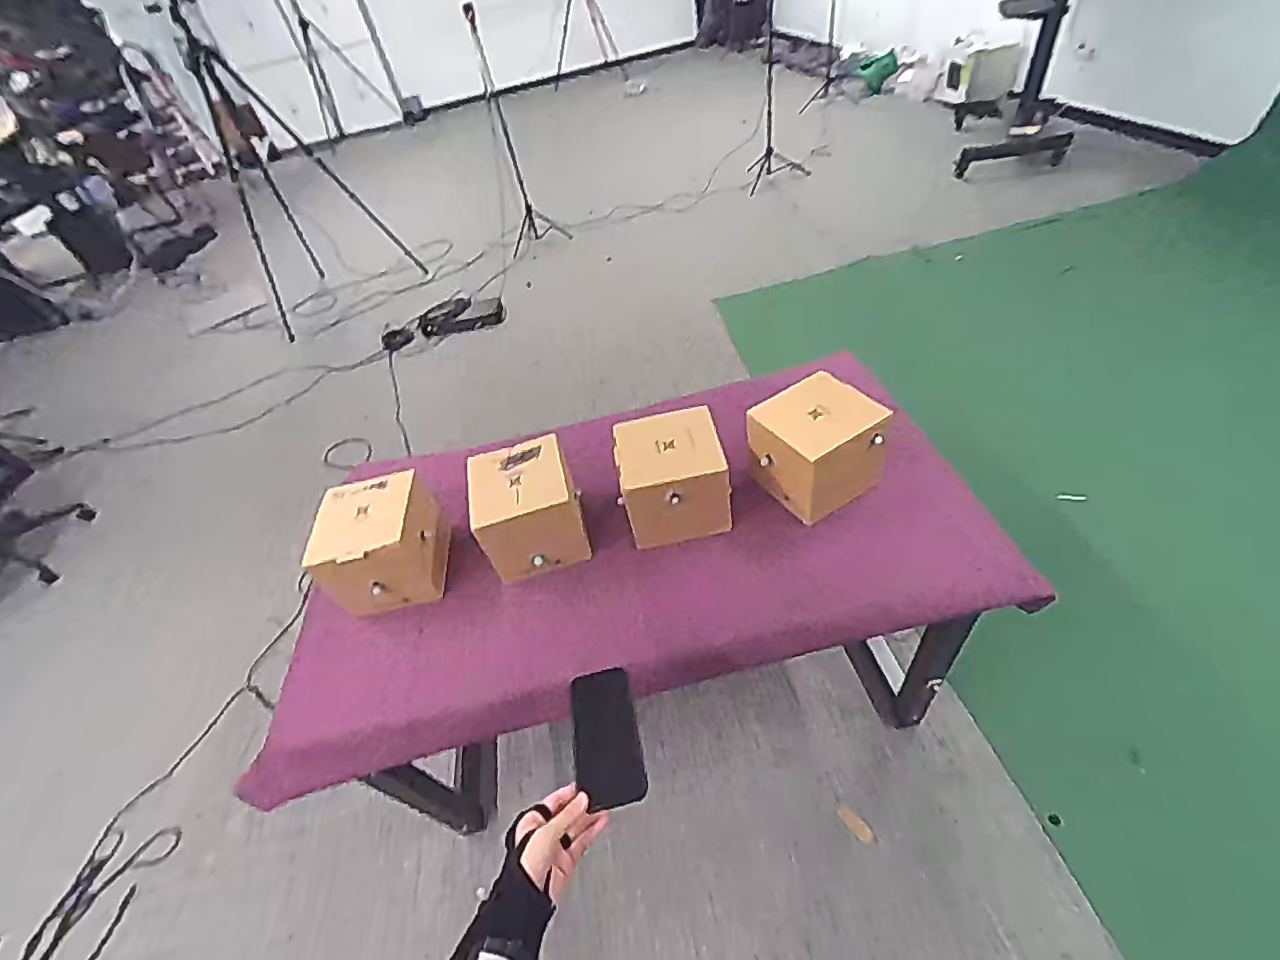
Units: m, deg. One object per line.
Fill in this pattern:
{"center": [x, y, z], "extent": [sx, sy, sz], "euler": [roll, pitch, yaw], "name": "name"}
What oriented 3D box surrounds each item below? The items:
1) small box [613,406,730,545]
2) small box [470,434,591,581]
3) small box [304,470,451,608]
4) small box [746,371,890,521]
{"center": [0.058, -0.004, 0.970], "extent": [0.179, 0.176, 0.168], "euler": [-11, 46, 2], "name": "small box"}
{"center": [-0.197, 0.050, 0.975], "extent": [0.168, 0.176, 0.179], "euler": [-17, 46, -3], "name": "small box"}
{"center": [-0.458, 0.113, 0.975], "extent": [0.168, 0.176, 0.179], "euler": [-13, 46, 1], "name": "small box"}
{"center": [0.310, -0.059, 0.963], "extent": [0.179, 0.176, 0.168], "euler": [-29, 47, -15], "name": "small box"}
